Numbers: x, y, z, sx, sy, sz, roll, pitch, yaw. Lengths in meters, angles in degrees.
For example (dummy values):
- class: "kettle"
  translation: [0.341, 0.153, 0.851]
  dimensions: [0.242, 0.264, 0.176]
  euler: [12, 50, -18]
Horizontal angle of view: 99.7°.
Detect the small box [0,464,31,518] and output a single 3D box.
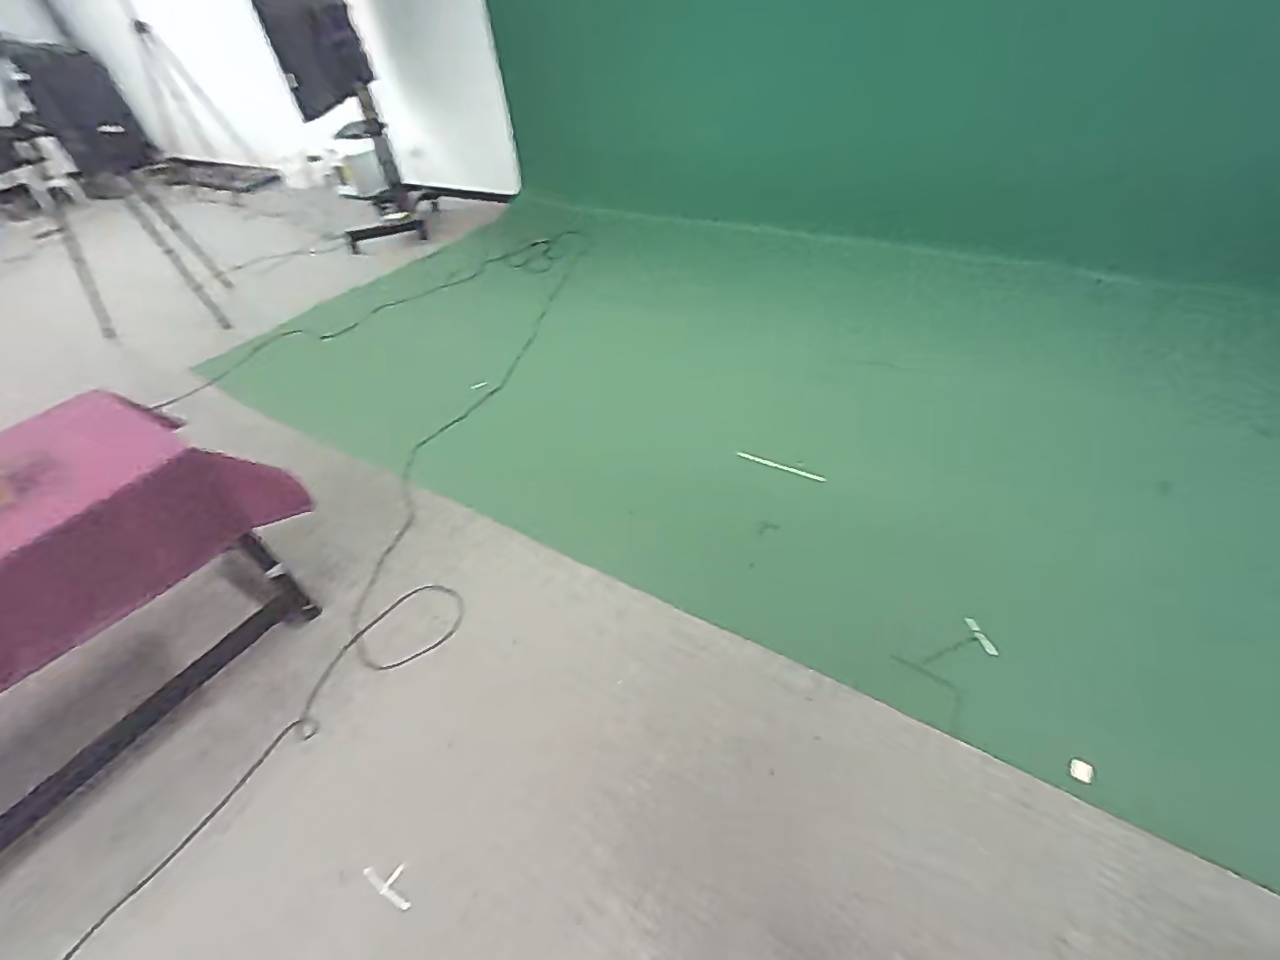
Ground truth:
- class: "small box"
  translation: [-1.551, 0.016, 1.209]
  dimensions: [0.168, 0.176, 0.179]
  euler: [23, 51, 27]
